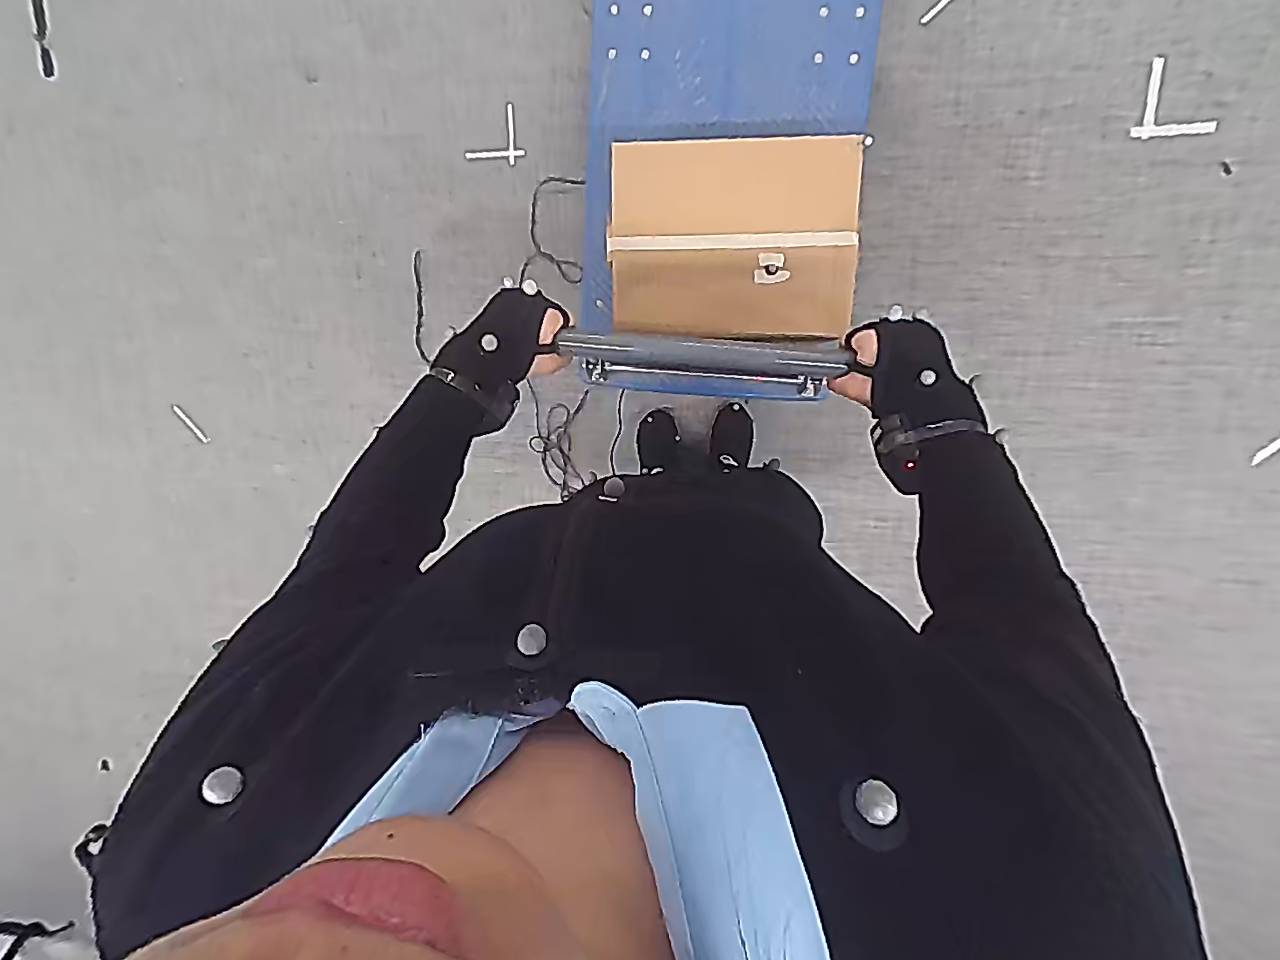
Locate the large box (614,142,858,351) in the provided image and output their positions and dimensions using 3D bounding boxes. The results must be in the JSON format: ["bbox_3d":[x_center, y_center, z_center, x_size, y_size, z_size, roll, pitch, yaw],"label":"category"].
[{"bbox_3d":[0.165,-0.422,1.056,0.408,0.320,0.320,1,102,4],"label":"large box"}]
